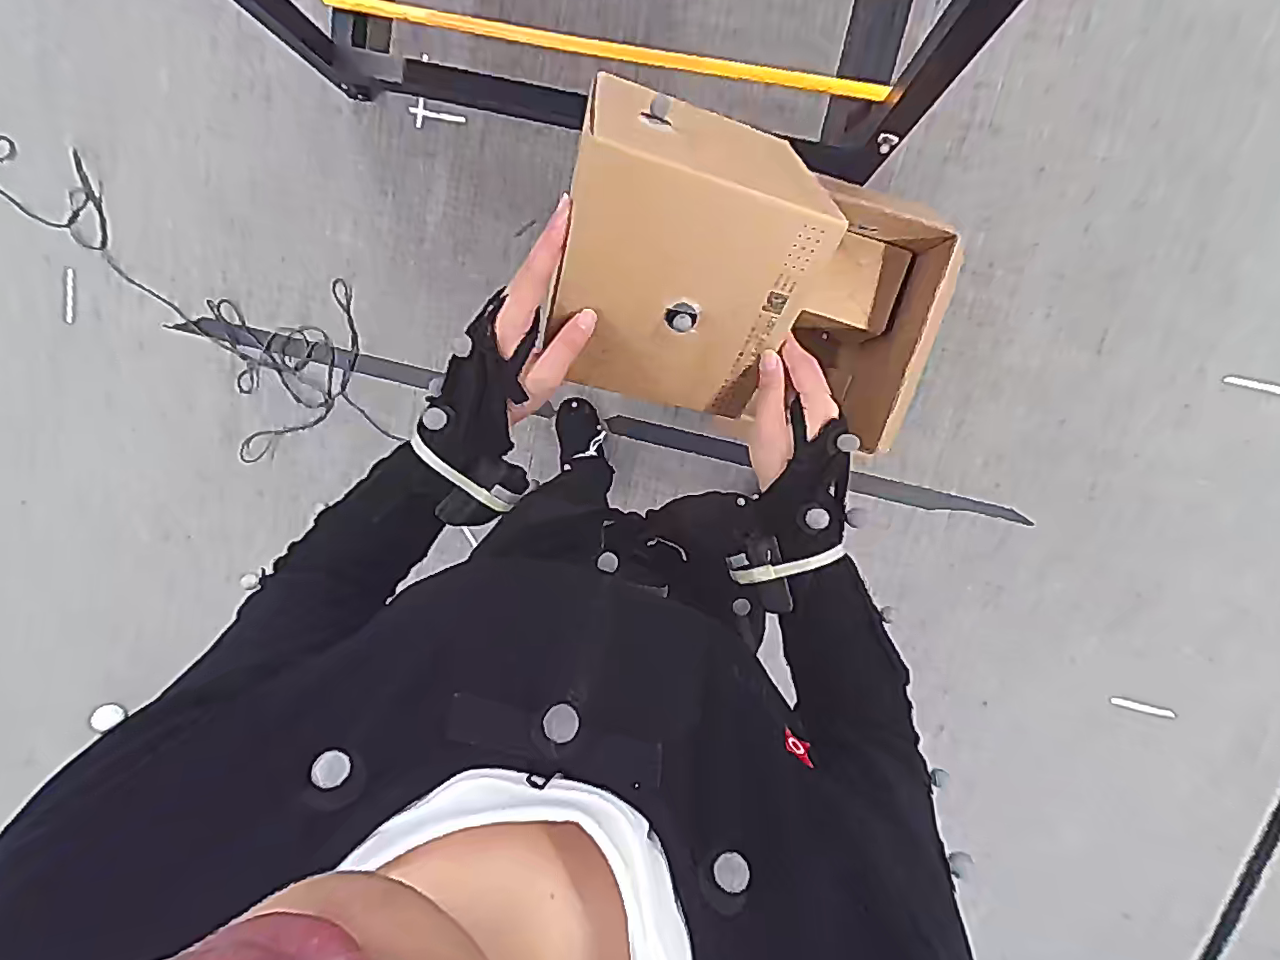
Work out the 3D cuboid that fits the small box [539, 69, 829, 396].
[{"bbox_3d":[0.022,-0.185,0.429,0.176,0.179,0.168,11,135,-15],"label":"small box"}]
